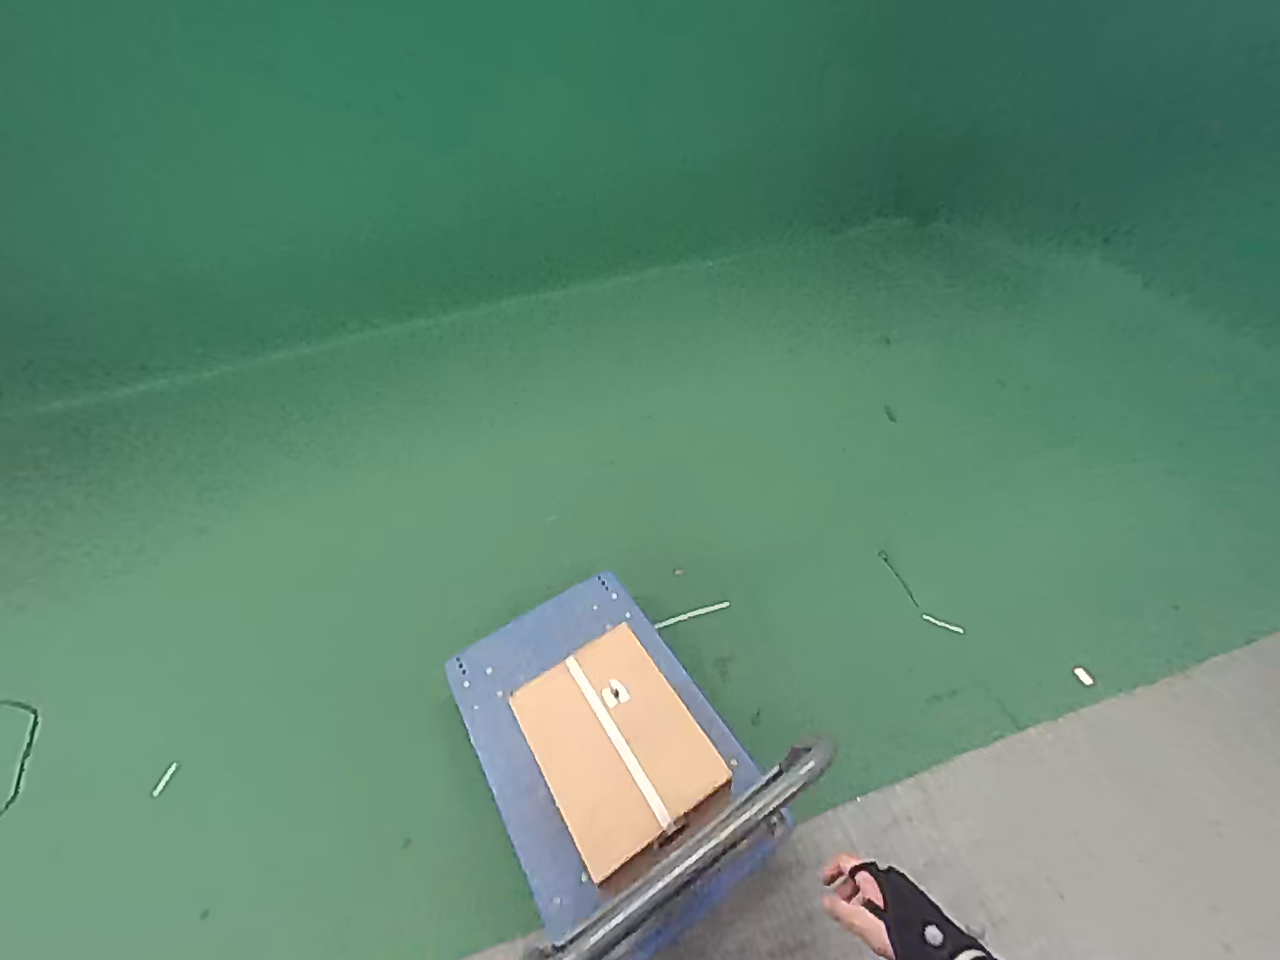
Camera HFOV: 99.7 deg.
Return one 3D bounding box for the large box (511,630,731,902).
[{"bbox_3d":[-0.036,0.638,1.232,0.320,0.320,0.408,-28,48,-18],"label":"large box"}]
